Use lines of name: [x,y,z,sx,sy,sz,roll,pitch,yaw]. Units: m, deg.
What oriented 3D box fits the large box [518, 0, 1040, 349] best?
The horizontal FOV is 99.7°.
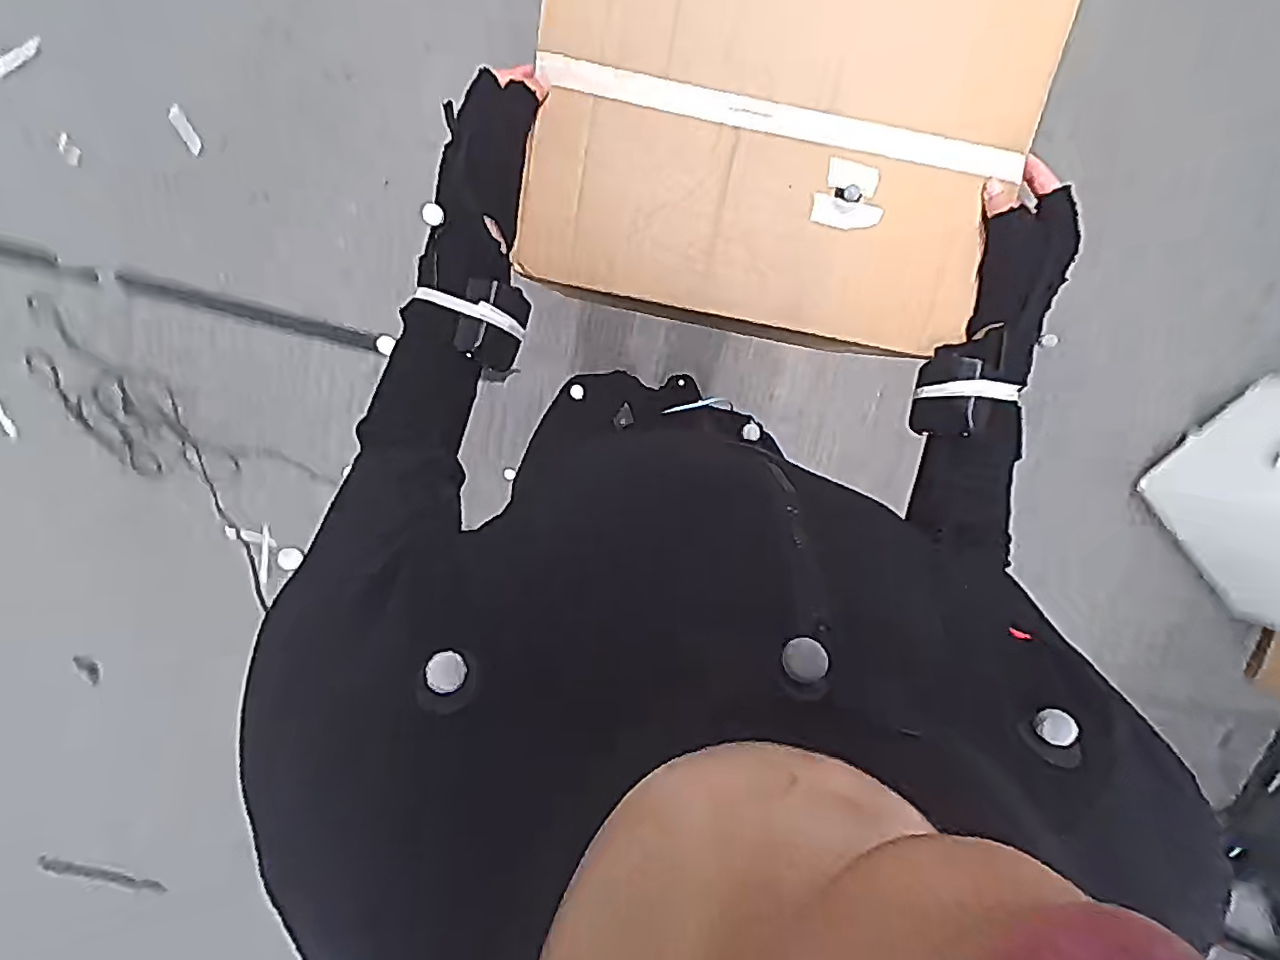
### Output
large box: [0.105,-0.333,0.600,0.408,0.320,0.320,9,106,-3]
